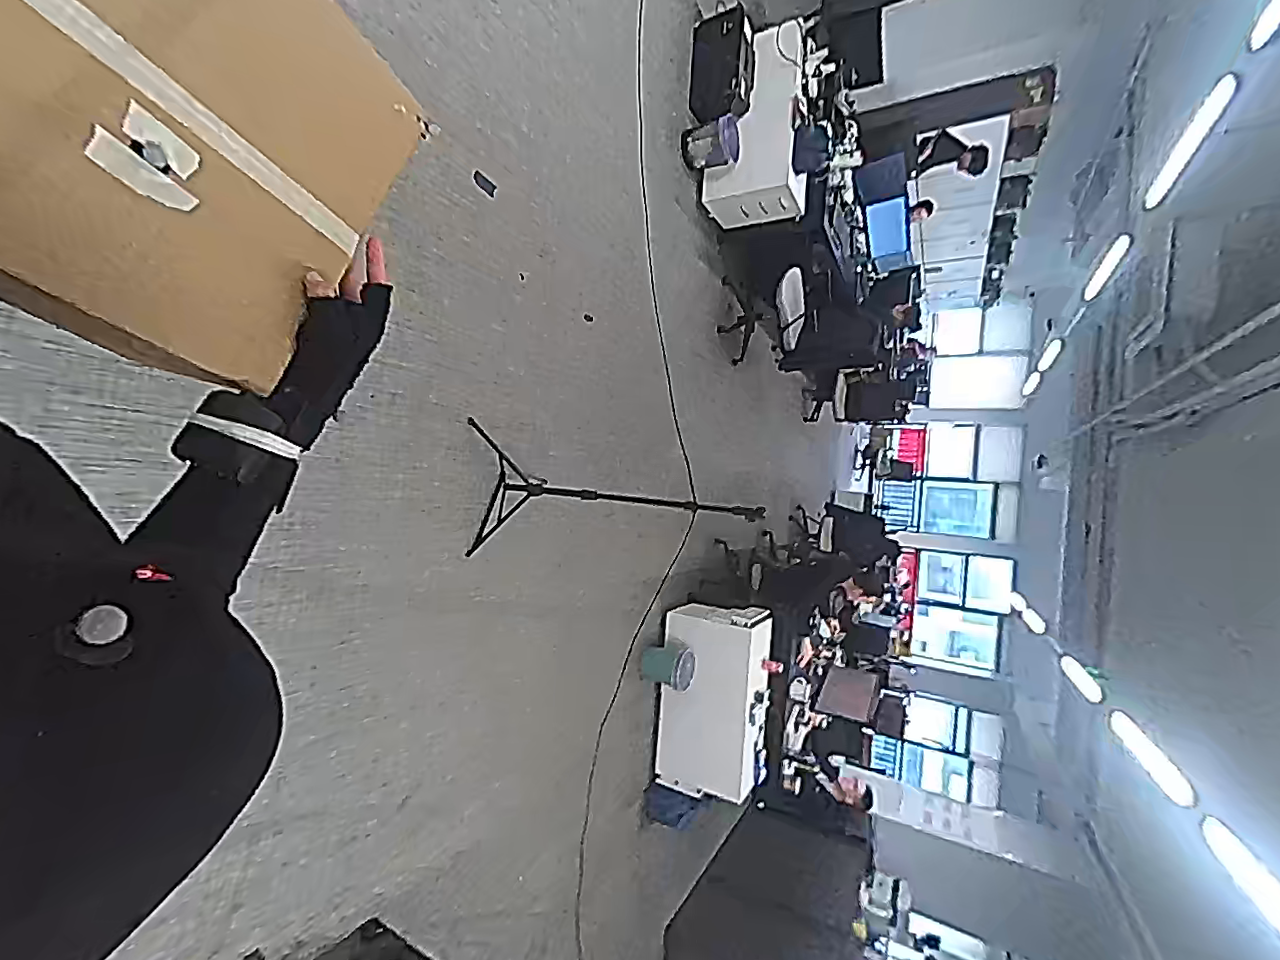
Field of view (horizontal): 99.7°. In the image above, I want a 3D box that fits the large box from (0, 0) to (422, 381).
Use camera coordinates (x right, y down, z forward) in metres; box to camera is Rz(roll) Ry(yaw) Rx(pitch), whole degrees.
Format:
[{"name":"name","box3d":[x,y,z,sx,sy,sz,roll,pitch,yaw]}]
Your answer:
[{"name":"large box","box3d":[-0.478,-0.321,0.419,0.408,0.320,0.320,40,69,-55]}]
